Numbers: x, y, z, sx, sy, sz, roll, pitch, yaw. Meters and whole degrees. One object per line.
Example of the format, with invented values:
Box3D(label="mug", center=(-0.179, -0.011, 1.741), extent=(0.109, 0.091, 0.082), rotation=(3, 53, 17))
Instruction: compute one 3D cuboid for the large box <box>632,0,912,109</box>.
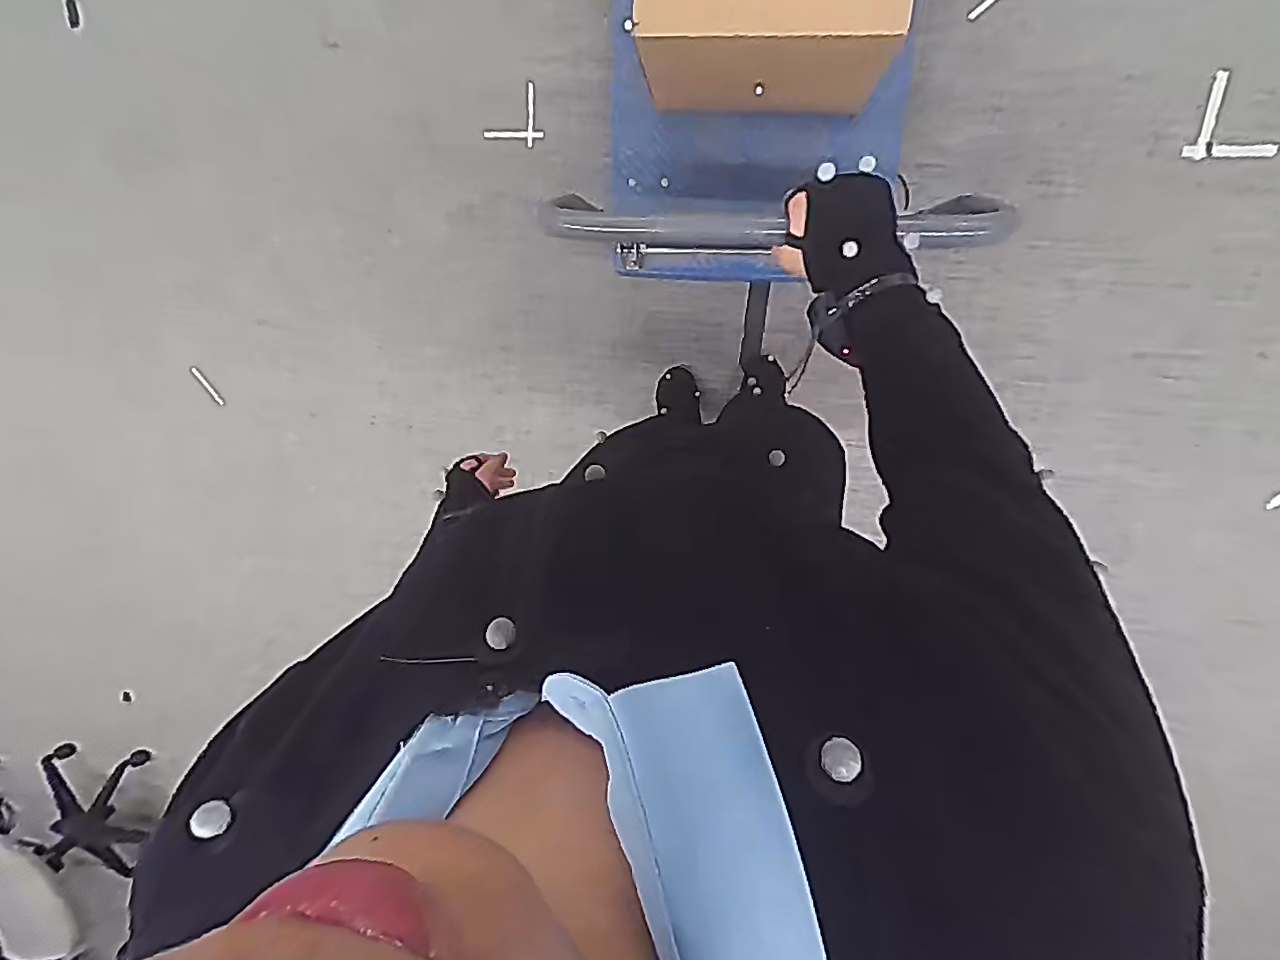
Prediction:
Box3D(label="large box", center=(0.215, -0.841, 0.889), extent=(0.408, 0.320, 0.320), rotation=(6, 106, 9))
